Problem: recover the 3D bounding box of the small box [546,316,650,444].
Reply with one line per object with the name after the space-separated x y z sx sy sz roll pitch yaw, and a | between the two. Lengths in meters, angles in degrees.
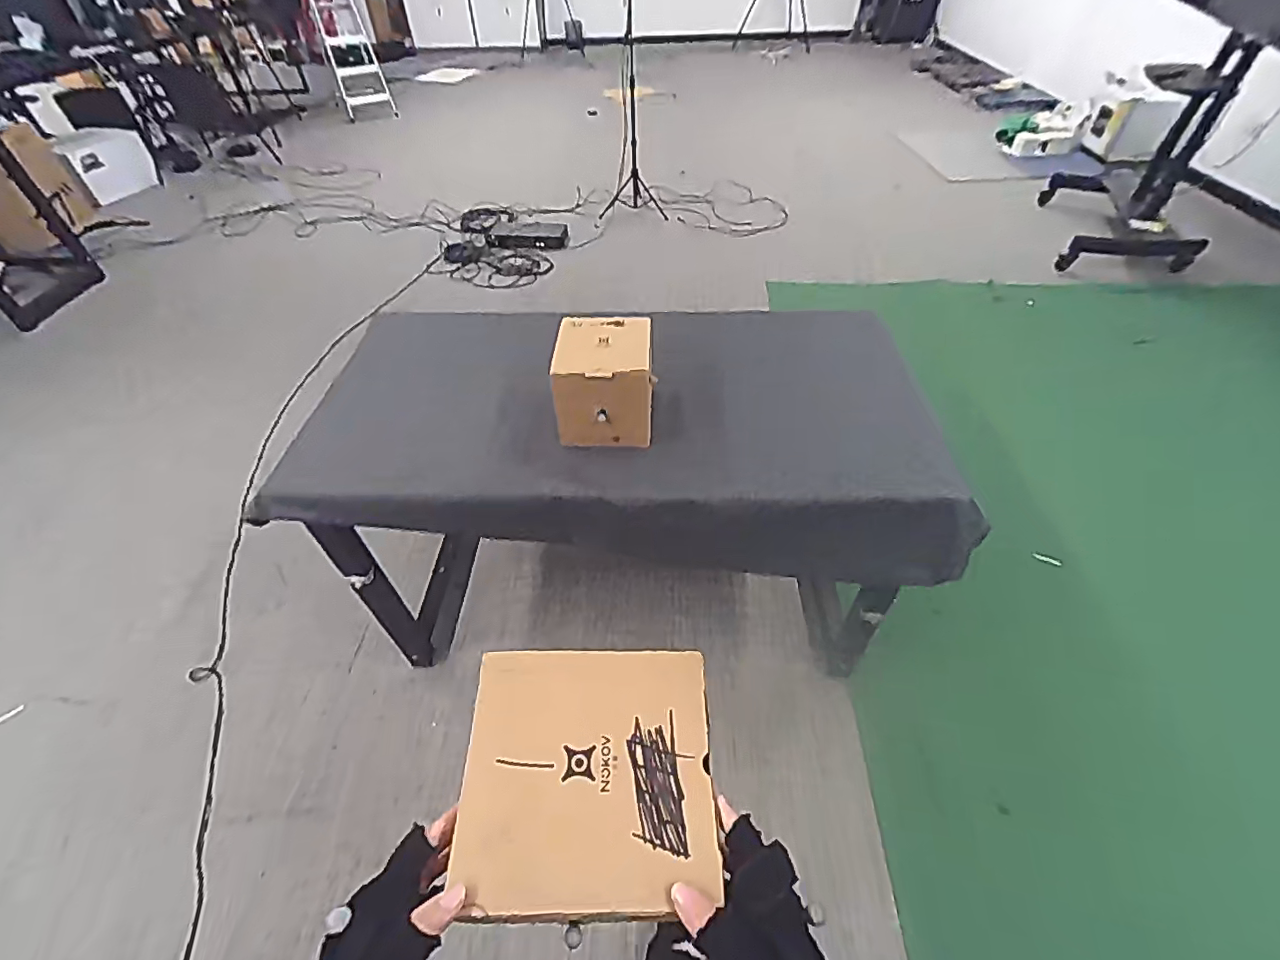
-0.067 -0.180 0.998 0.168 0.176 0.179 -1 47 3 | small box
